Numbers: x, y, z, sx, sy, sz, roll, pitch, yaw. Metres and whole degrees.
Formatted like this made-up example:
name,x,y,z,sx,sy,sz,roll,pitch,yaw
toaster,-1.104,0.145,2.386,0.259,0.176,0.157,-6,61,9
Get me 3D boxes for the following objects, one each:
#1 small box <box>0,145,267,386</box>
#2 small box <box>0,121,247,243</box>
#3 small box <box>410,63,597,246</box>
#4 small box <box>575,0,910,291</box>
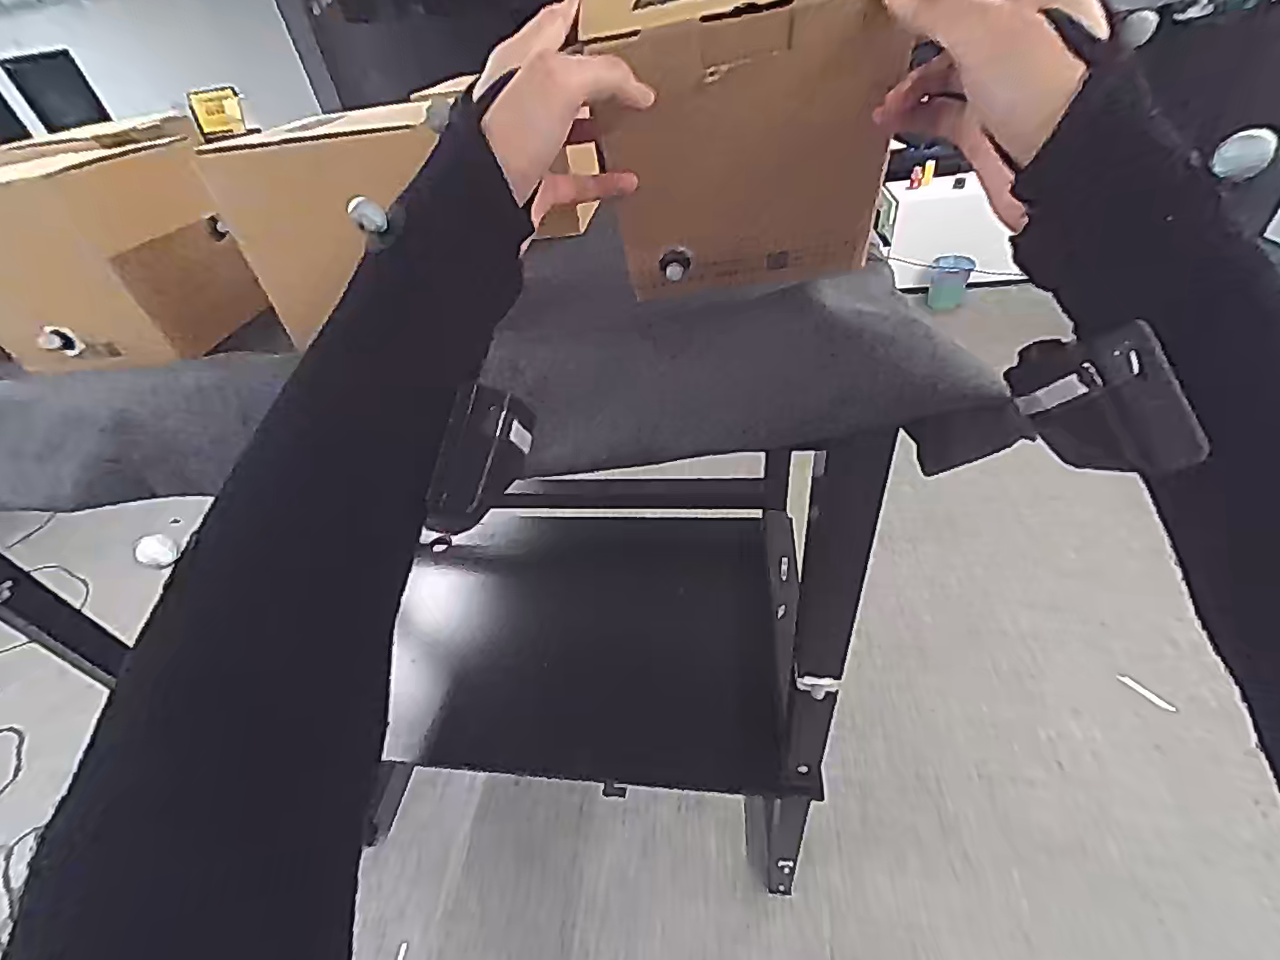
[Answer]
name,x,y,z,sx,sy,sz,roll,pitch,yaw
small box,-0.516,-0.210,0.531,0.168,0.176,0.179,-4,40,6
small box,-0.729,-0.396,0.780,0.179,0.176,0.168,-2,42,7
small box,-0.158,-0.413,0.699,0.168,0.176,0.179,-2,42,9
small box,0.060,-0.249,0.367,0.168,0.176,0.179,-5,60,8
